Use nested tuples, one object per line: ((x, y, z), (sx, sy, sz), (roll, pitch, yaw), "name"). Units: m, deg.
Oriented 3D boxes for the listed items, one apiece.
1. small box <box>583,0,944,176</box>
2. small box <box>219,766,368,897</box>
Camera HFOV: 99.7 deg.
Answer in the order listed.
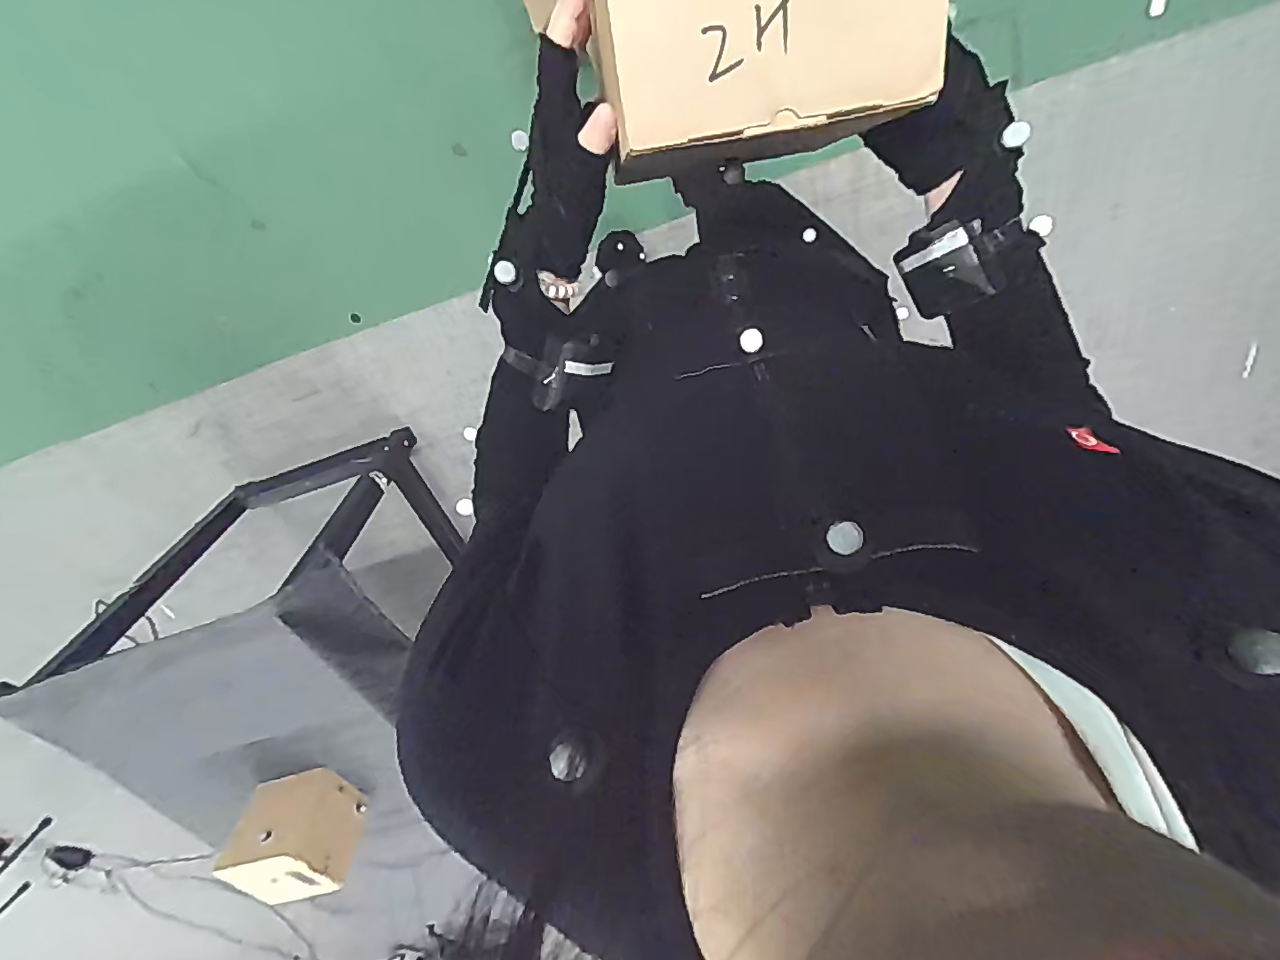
((0.051, -0.295, 0.311), (0.168, 0.176, 0.179), (-10, 114, 0), "small box")
((-0.696, 0.721, 1.119), (0.179, 0.176, 0.168), (-17, 122, 10), "small box")
